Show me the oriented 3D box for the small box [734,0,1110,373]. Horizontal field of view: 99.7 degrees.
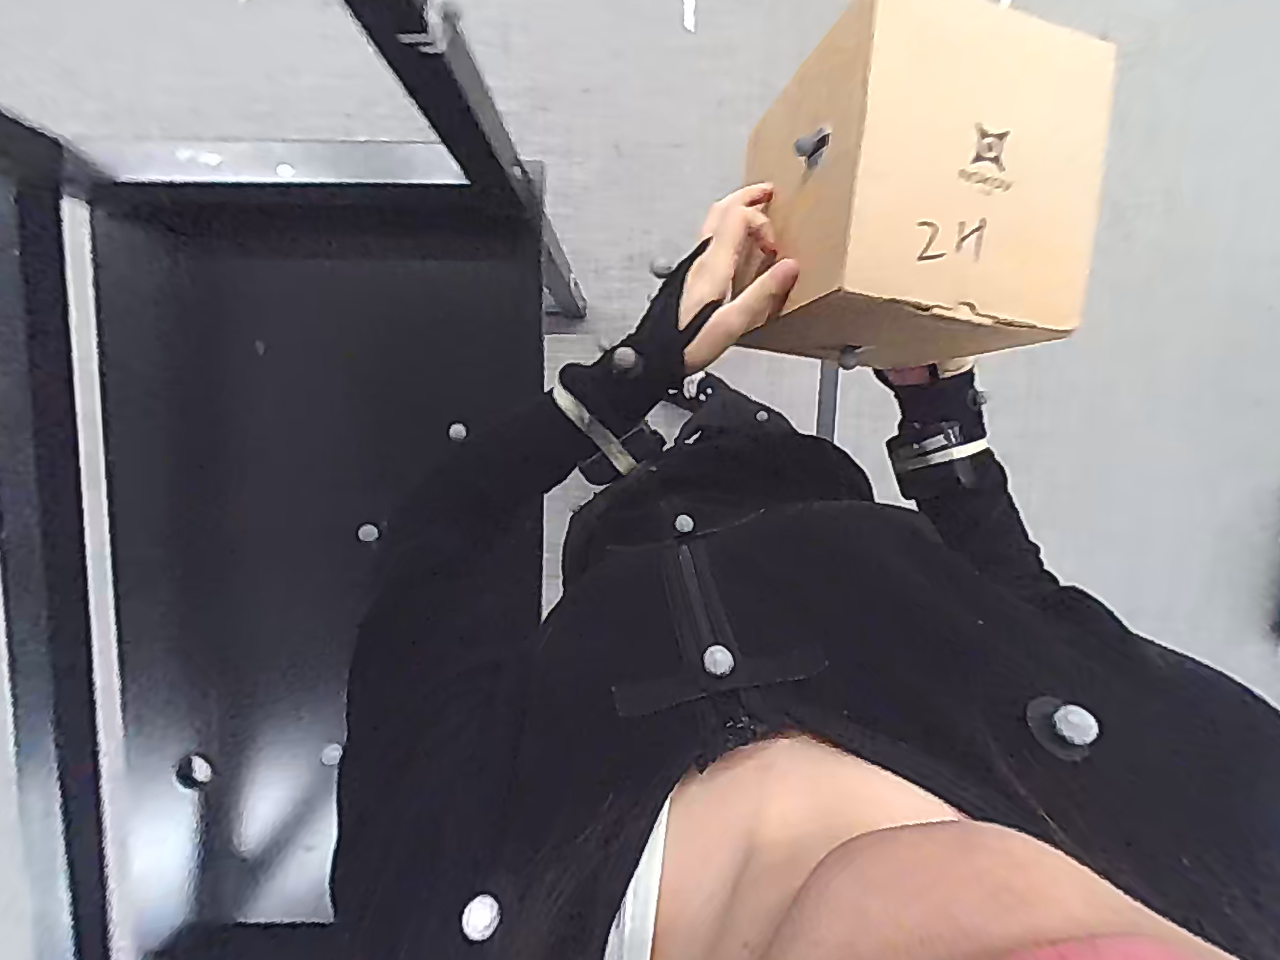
[{"bbox_3d":[0.180,-0.185,0.391,0.168,0.176,0.179,6,92,-12],"label":"small box"}]
